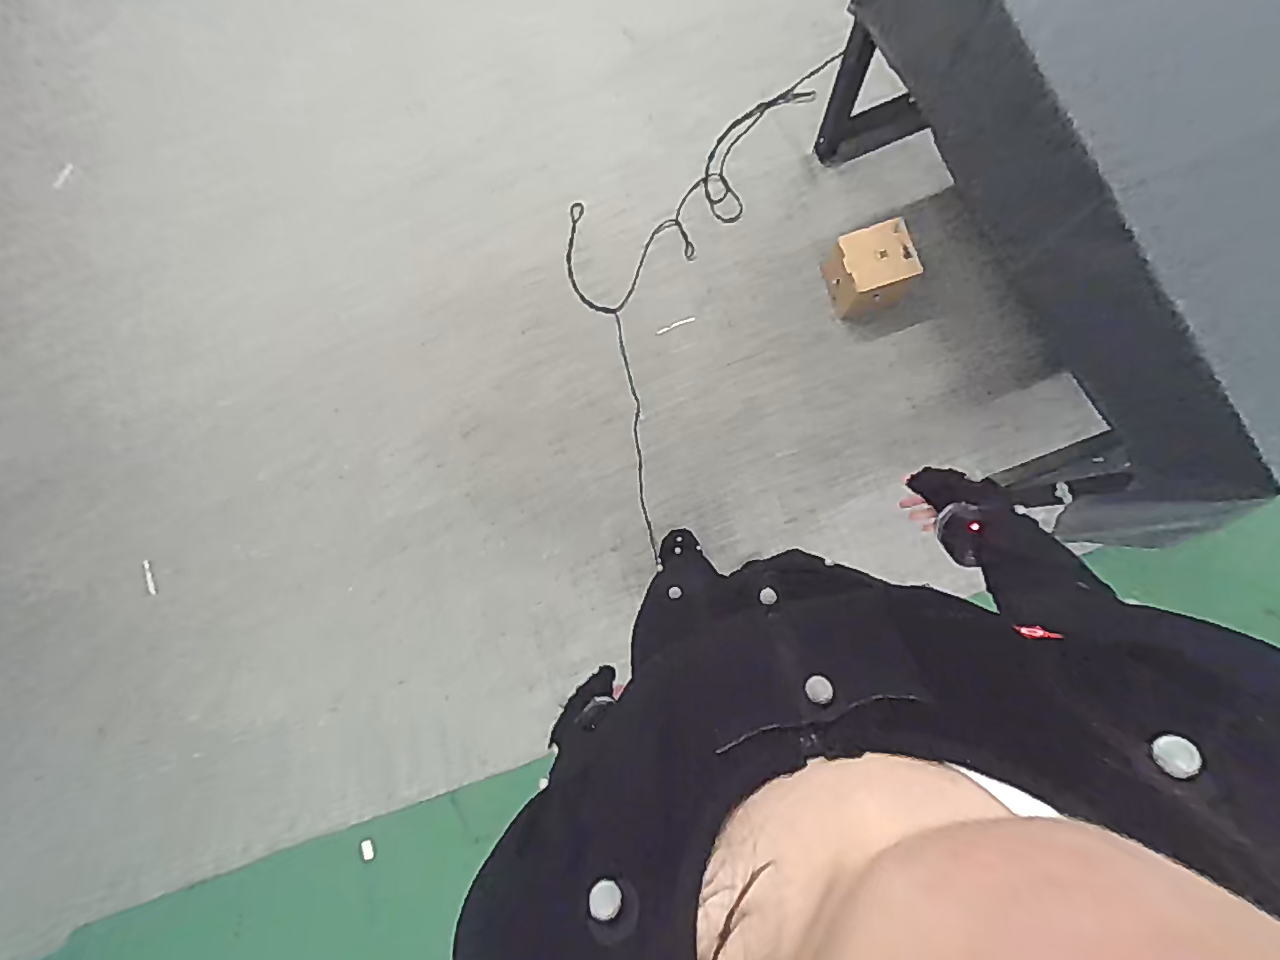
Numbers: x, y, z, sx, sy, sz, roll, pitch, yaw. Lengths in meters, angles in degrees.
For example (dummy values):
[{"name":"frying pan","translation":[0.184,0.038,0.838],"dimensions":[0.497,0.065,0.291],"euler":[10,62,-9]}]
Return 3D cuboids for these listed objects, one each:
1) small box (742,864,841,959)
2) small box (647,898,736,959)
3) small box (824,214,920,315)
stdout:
[{"name":"small box","translation":[0.355,1.058,1.283],"dimensions":[0.168,0.176,0.179],"euler":[-24,83,1]},{"name":"small box","translation":[0.130,1.161,1.288],"dimensions":[0.168,0.176,0.179],"euler":[-26,82,1]},{"name":"small box","translation":[0.613,-0.571,1.460],"dimensions":[0.179,0.176,0.168],"euler":[-17,82,2]}]
